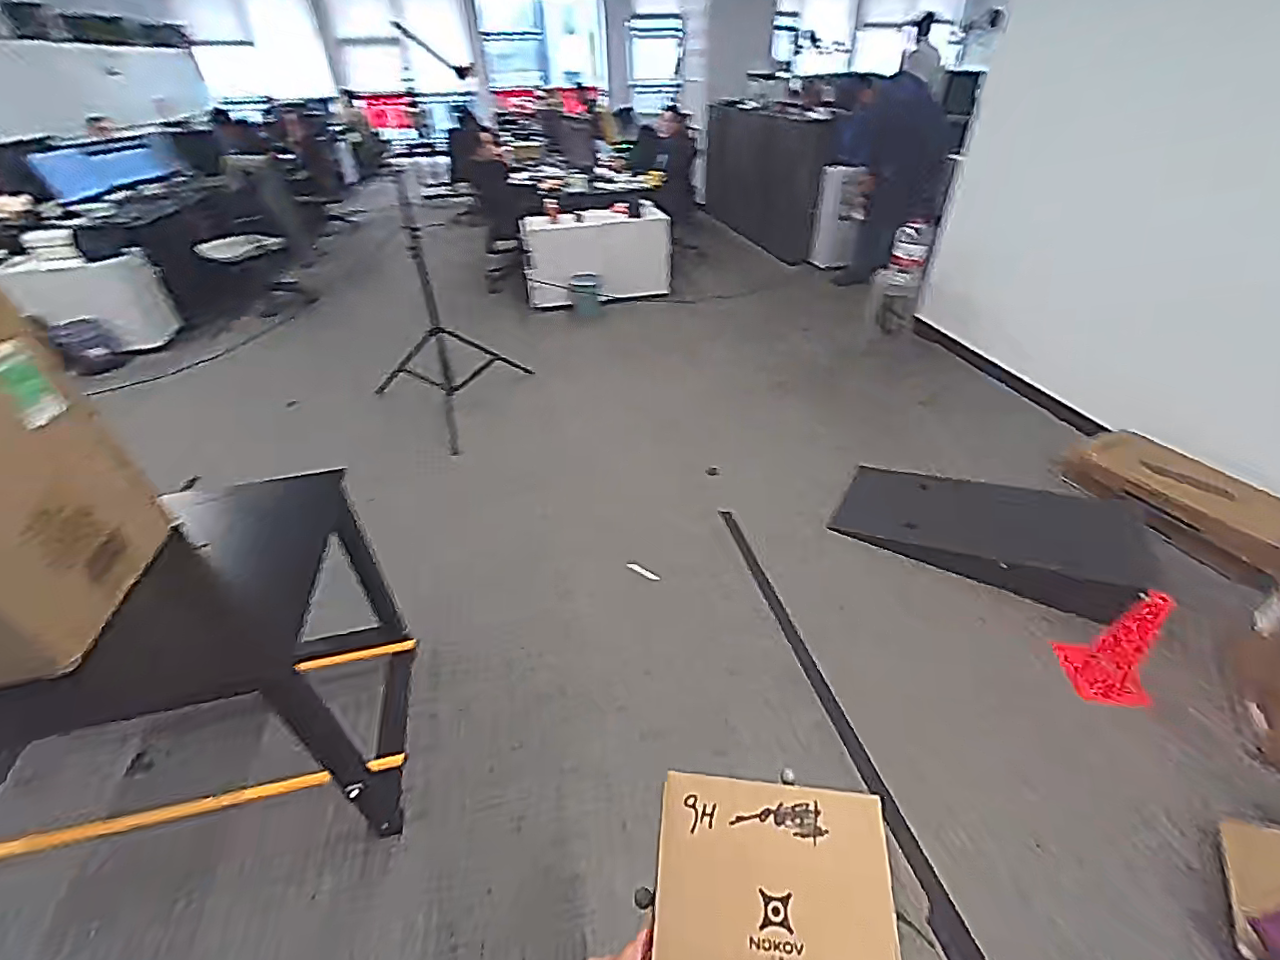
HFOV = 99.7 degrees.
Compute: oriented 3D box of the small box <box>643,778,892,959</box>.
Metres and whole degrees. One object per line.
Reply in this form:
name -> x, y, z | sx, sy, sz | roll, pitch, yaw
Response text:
small box -> 0.088, 0.351, 0.431 | 0.168, 0.176, 0.179 | 4, 57, 4
